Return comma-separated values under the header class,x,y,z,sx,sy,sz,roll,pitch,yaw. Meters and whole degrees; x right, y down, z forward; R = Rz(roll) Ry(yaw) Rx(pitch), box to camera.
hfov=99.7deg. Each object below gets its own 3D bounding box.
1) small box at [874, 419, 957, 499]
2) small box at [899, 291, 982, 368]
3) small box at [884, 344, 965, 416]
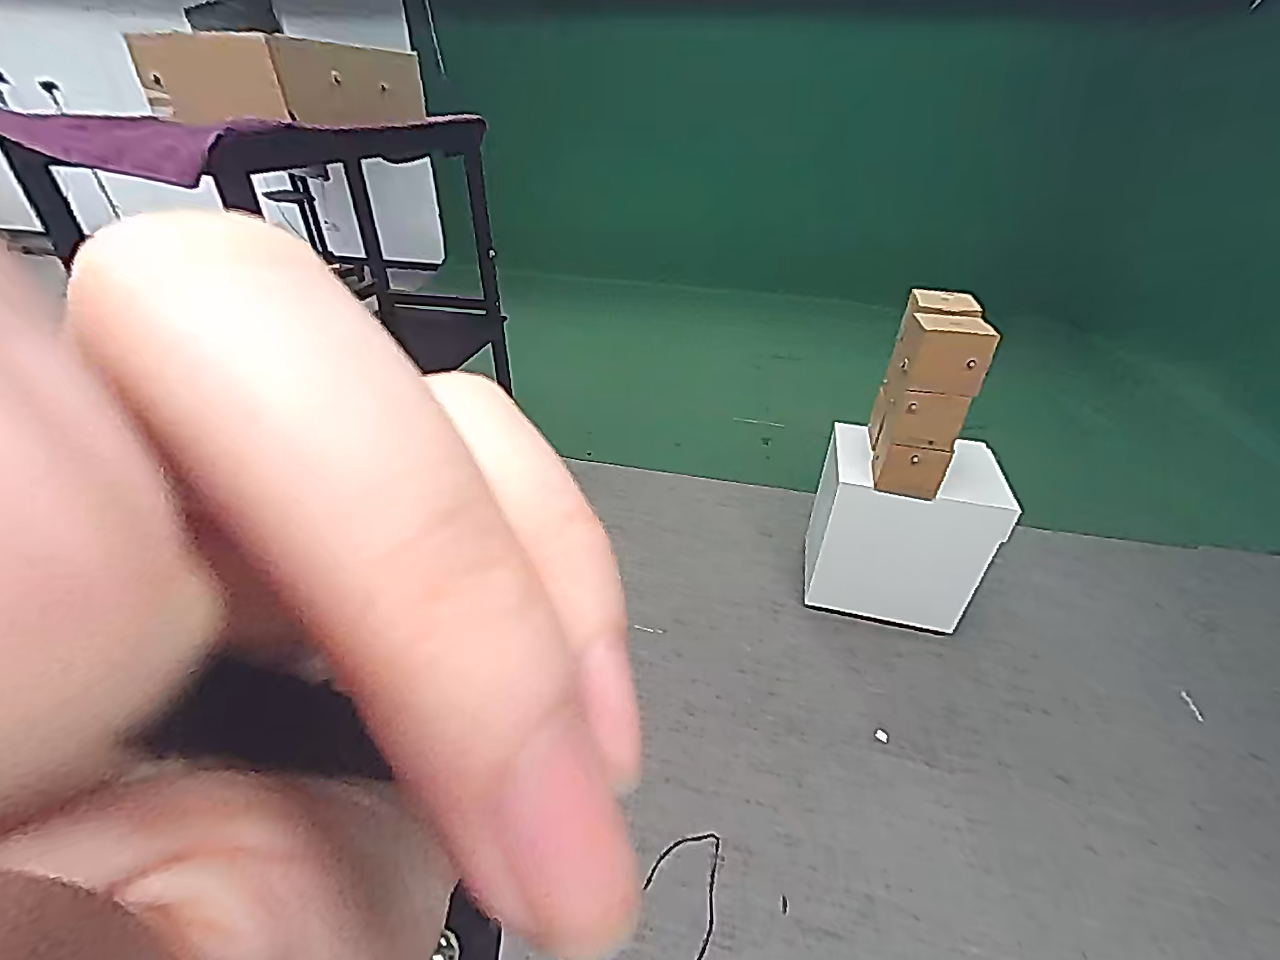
class,x,y,z,sx,sy,sz,roll,pitch,yaw
small box,0.825,-0.062,1.637,0.179,0.176,0.168,10,35,13
small box,0.892,-0.451,1.620,0.168,0.176,0.179,11,38,12
small box,0.897,-0.320,1.719,0.179,0.176,0.168,10,37,12
